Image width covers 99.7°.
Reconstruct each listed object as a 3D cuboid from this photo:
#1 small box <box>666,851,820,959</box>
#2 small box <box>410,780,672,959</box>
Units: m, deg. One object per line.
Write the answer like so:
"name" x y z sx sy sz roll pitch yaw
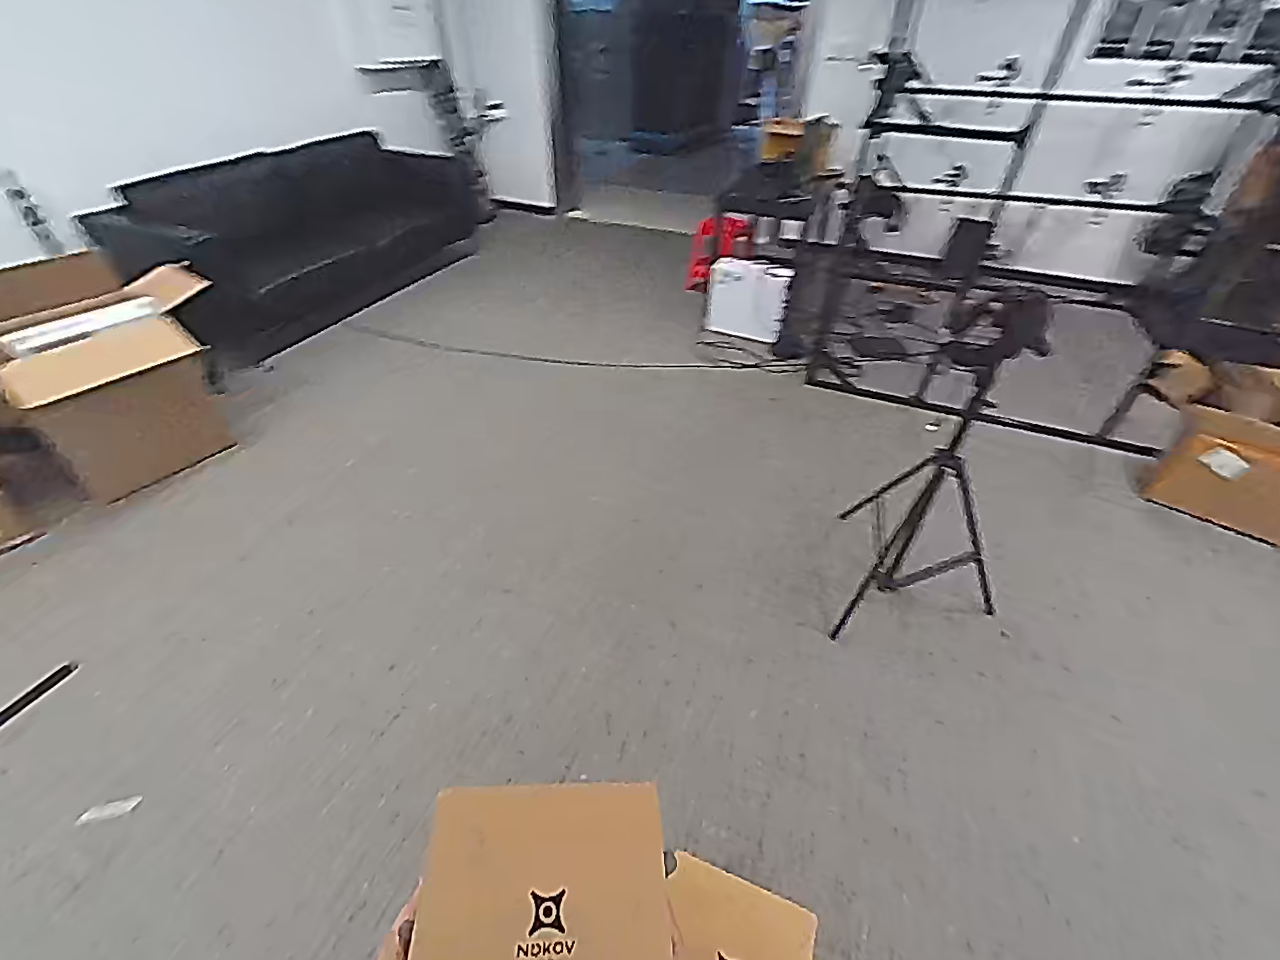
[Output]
"small box" 0.087 0.565 0.601 0.168 0.176 0.179 15 44 16
"small box" -0.073 0.349 0.399 0.168 0.176 0.179 3 41 -9
